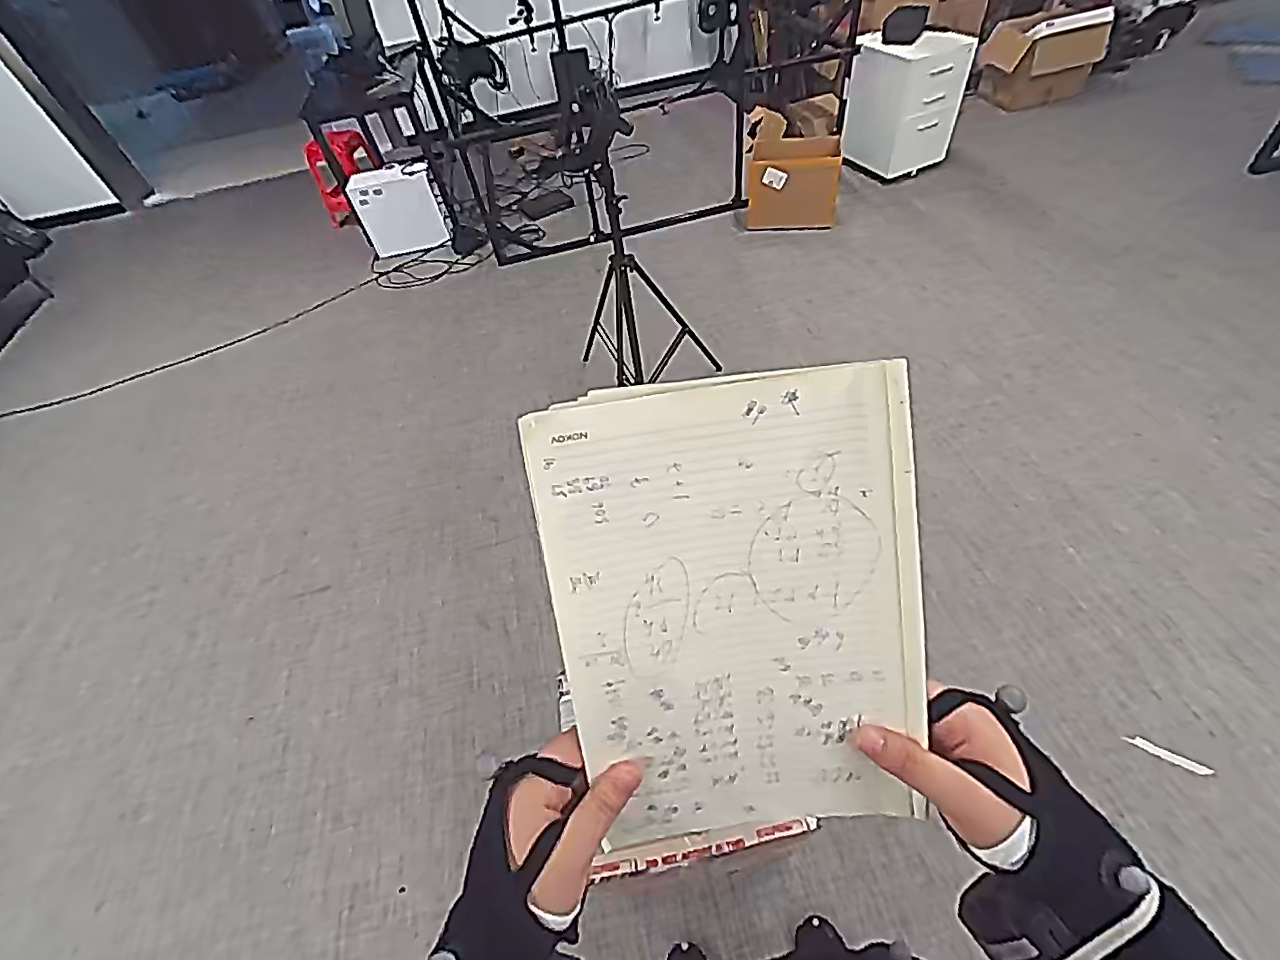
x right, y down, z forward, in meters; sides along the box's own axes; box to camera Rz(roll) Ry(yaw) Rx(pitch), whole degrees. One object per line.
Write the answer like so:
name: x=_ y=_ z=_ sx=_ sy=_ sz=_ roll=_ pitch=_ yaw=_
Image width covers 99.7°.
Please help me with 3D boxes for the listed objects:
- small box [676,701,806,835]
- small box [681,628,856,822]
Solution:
small box: x=0.161 y=0.426 z=0.836 sx=0.179 sy=0.176 sz=0.168 roll=-15 pitch=51 yaw=-5
small box: x=0.150 y=0.323 z=0.708 sx=0.168 sy=0.176 sz=0.179 roll=-12 pitch=52 yaw=-4
